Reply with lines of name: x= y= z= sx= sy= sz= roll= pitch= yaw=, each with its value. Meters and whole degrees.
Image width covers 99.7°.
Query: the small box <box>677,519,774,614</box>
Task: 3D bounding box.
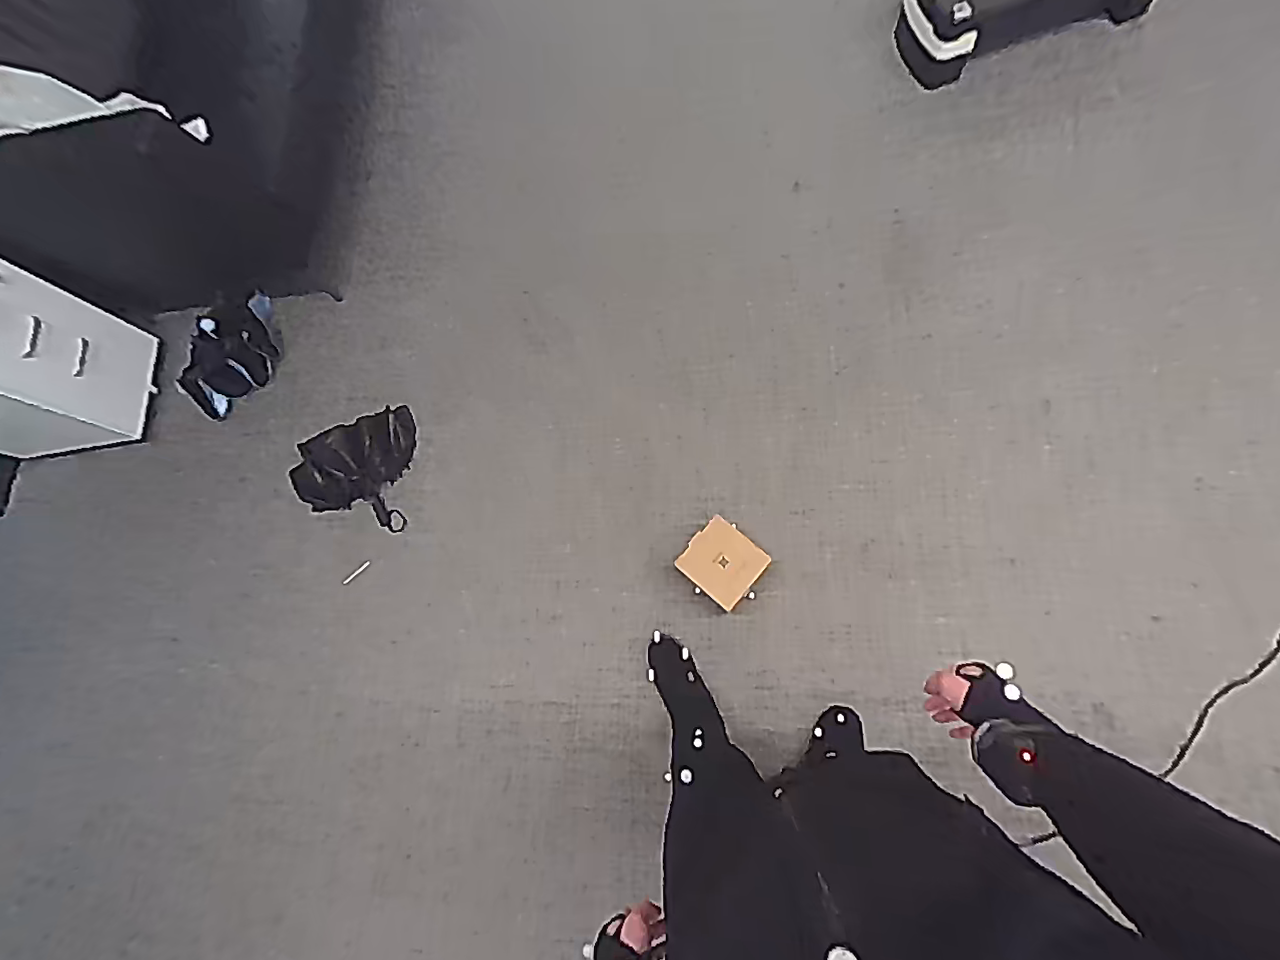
small box: x=0.218 y=0.226 z=1.370 sx=0.179 sy=0.176 sz=0.168 roll=39 pitch=86 yaw=18
